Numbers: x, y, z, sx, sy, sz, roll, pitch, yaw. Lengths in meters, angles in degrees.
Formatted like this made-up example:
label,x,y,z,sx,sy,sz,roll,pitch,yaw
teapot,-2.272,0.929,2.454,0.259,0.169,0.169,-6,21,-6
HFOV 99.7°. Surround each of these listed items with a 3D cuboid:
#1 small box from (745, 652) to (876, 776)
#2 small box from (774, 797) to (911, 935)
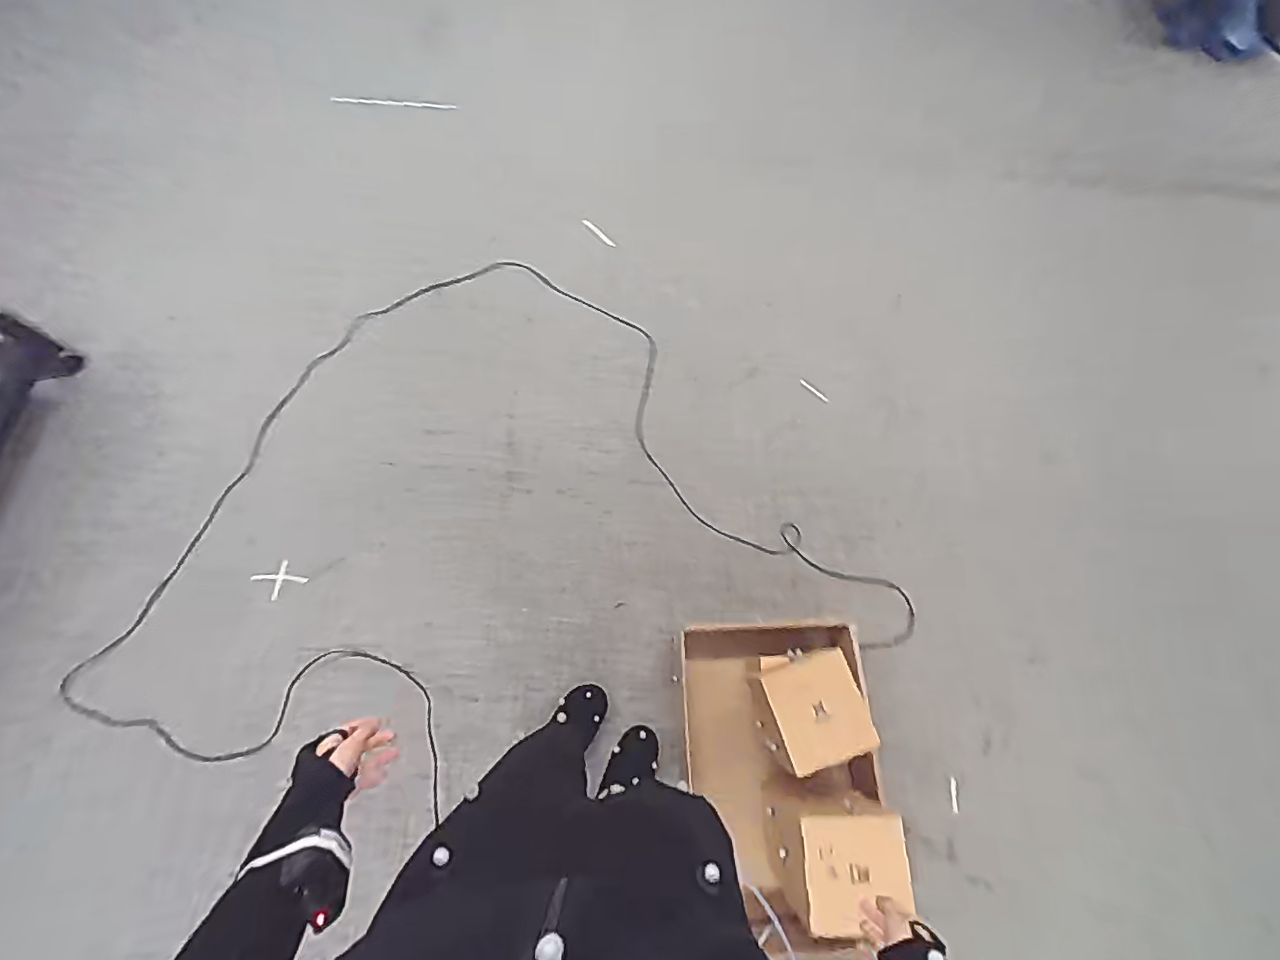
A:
label,x,y,z,sx,sy,sz,roll,pitch,yaw
small box,0.321,0.443,1.054,0.168,0.176,0.179,-17,72,-5
small box,0.352,0.678,0.969,0.179,0.176,0.168,0,70,0
